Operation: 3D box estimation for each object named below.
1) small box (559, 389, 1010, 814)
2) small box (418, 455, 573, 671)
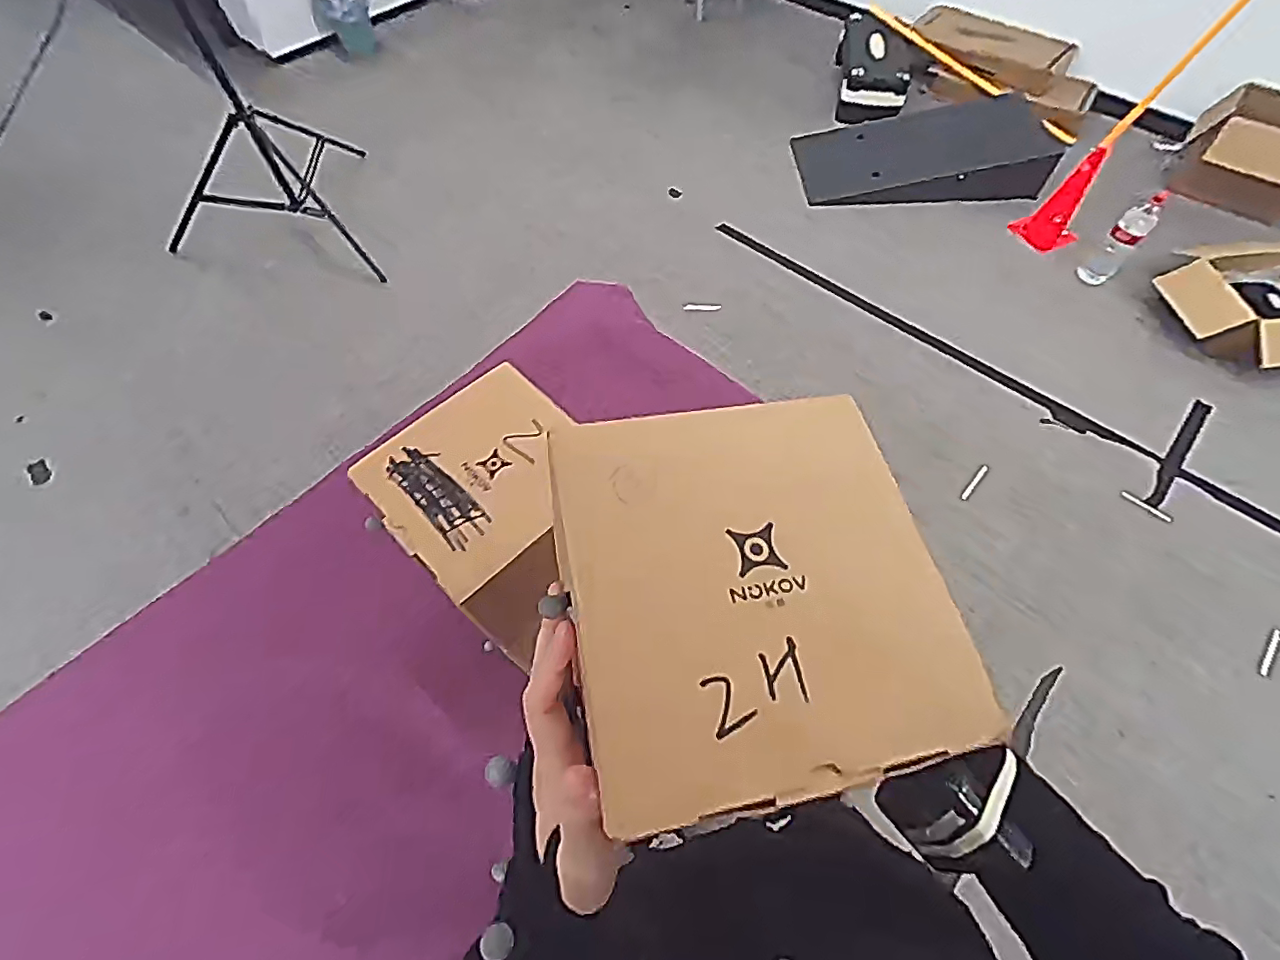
[{"bbox_3d":[0.045,0.073,0.310,0.168,0.176,0.179,-8,62,-10],"label":"small box"},{"bbox_3d":[-0.132,0.110,0.675,0.168,0.176,0.179,41,68,19],"label":"small box"}]
